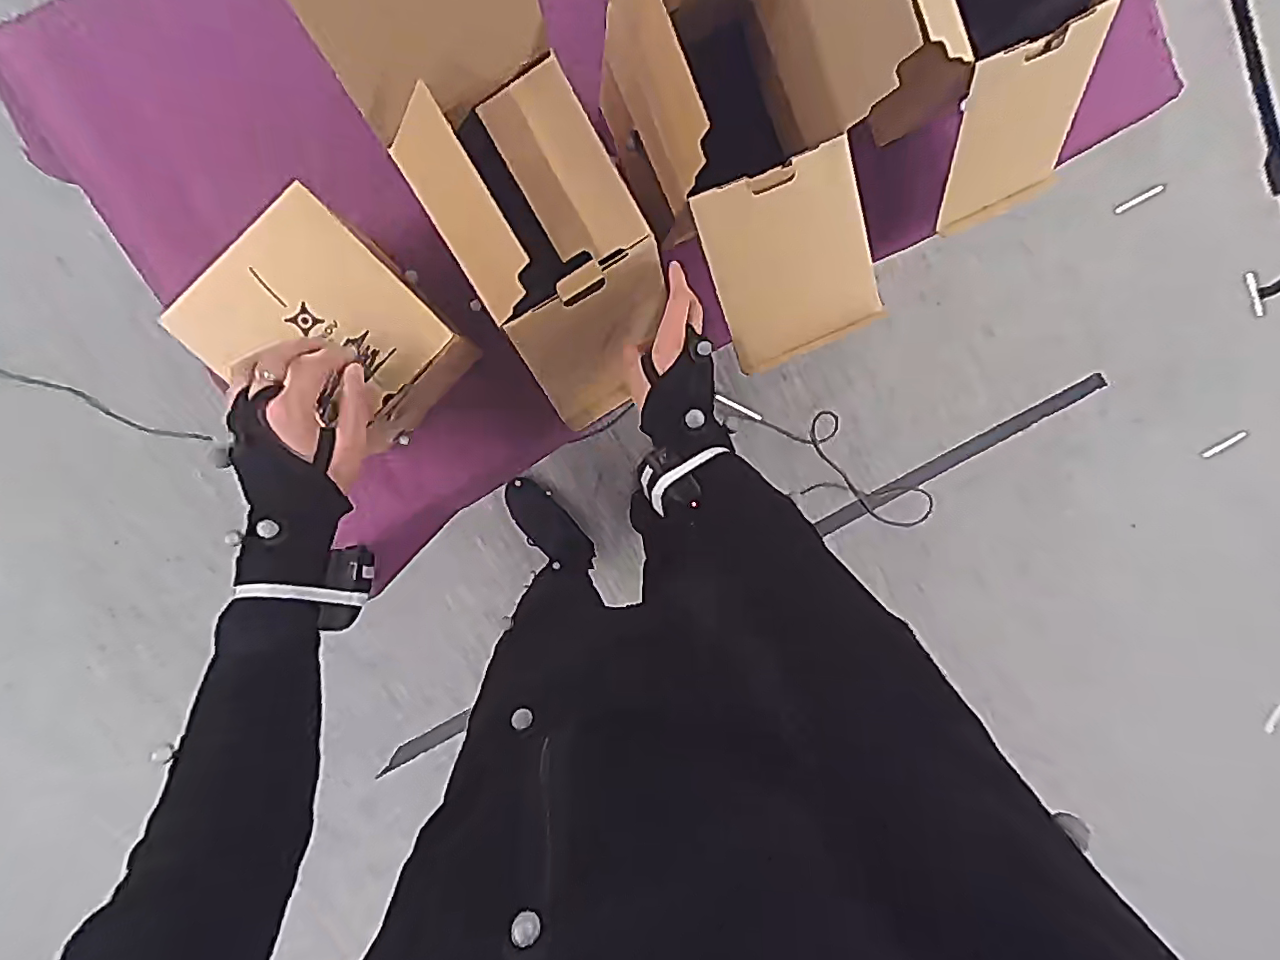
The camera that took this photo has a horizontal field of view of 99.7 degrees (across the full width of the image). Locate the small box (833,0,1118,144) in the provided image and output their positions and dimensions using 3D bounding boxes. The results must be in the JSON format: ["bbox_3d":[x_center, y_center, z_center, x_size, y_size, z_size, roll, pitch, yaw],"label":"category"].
[{"bbox_3d":[0.333,-0.503,0.567,0.168,0.176,0.179,-26,100,-2],"label":"small box"}]
